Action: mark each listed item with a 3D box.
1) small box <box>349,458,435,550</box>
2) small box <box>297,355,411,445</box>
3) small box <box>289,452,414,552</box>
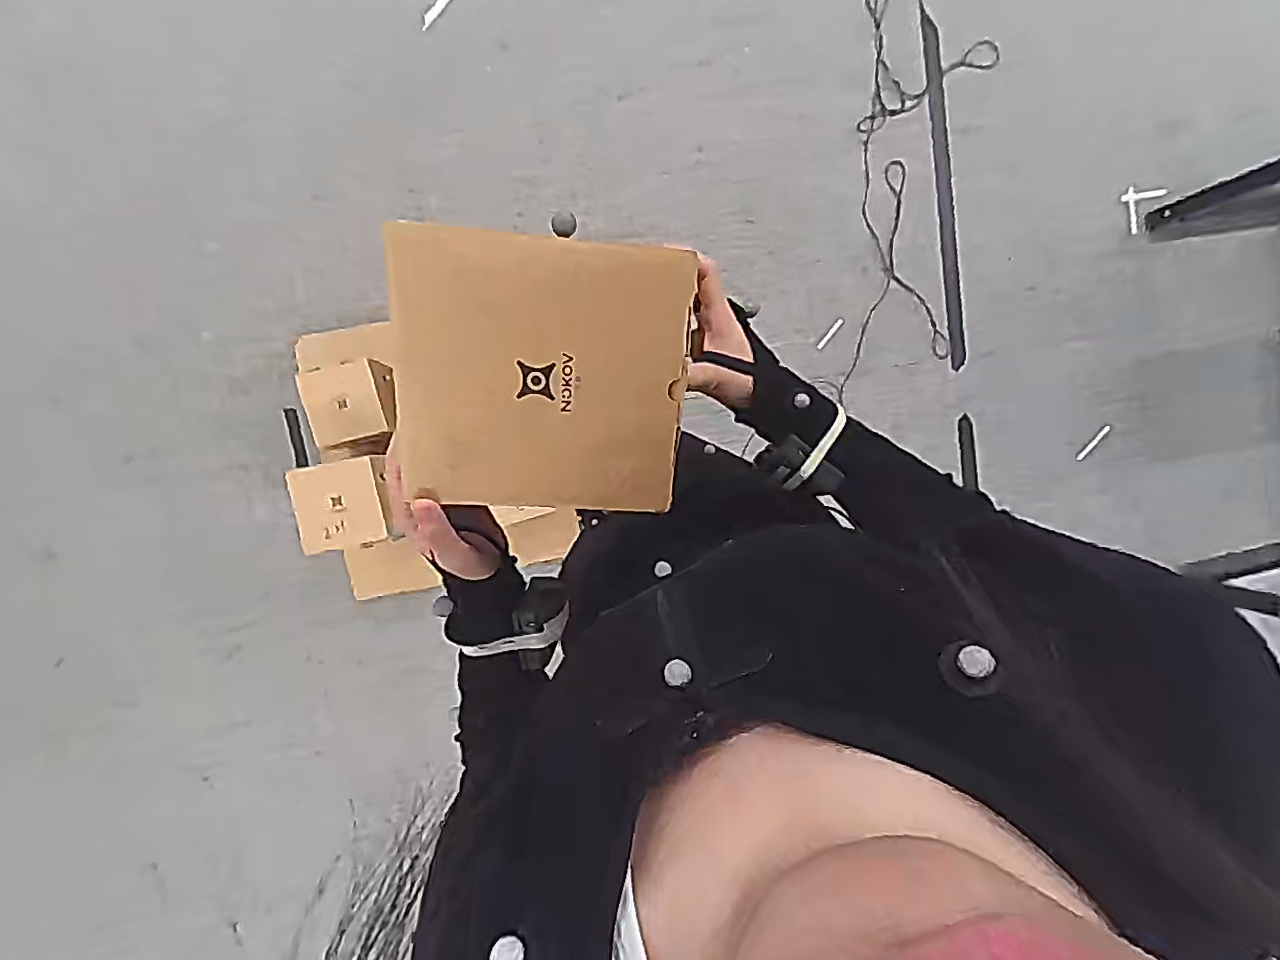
[{"bbox_3d":[-0.620,0.052,1.321,0.168,0.176,0.179,-16,96,-6],"label":"small box"},{"bbox_3d":[-0.678,-0.186,1.302,0.168,0.176,0.179,-16,96,-5],"label":"small box"},{"bbox_3d":[-0.605,0.040,1.155,0.168,0.176,0.179,-12,95,-5],"label":"small box"}]
